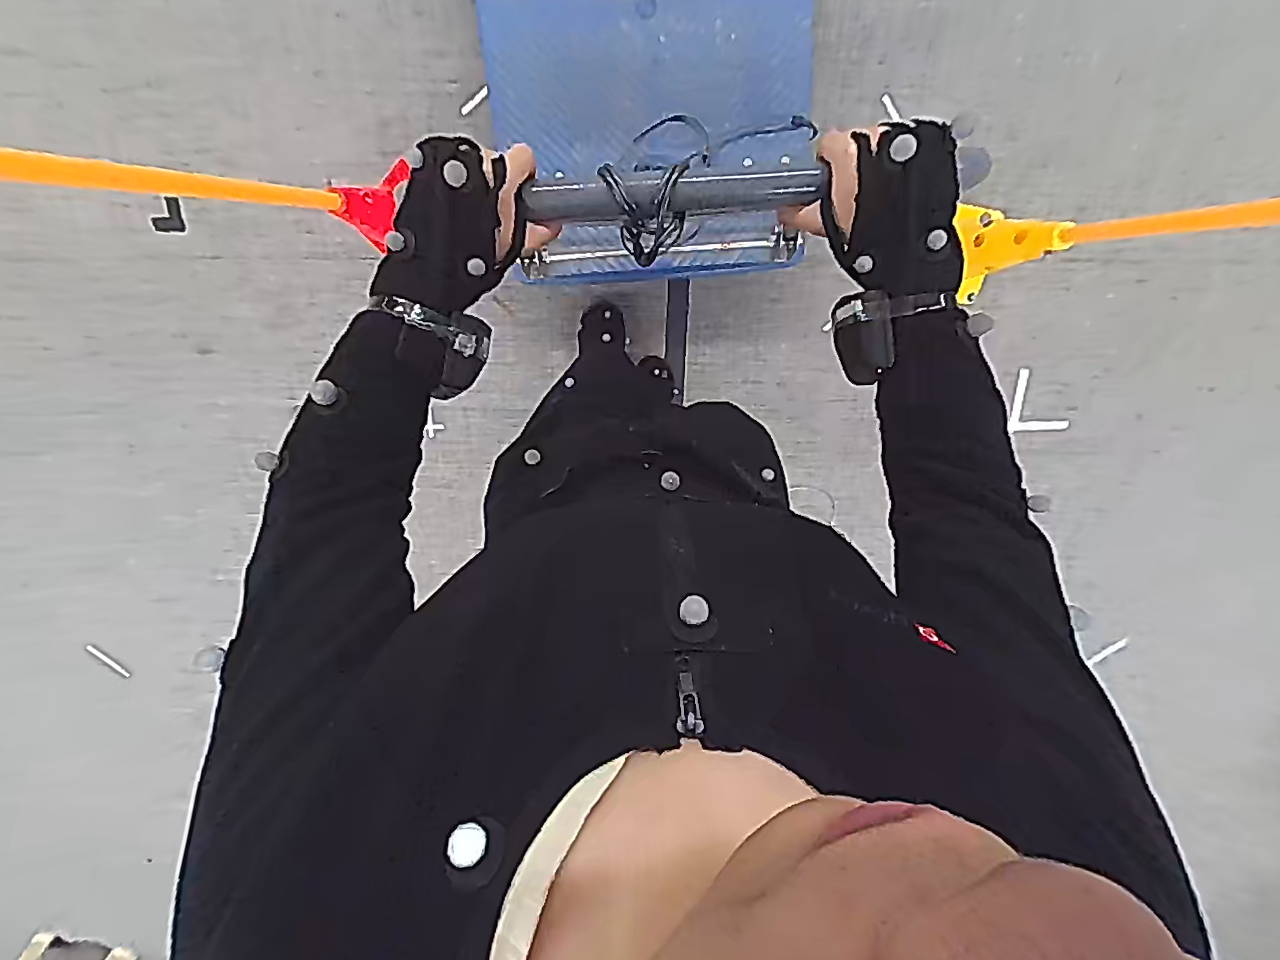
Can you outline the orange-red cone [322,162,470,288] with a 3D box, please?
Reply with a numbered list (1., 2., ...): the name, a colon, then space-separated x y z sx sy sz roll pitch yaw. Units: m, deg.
1. orange-red cone: -0.490 -0.496 1.015 0.199 0.360 0.198 -43 106 11
